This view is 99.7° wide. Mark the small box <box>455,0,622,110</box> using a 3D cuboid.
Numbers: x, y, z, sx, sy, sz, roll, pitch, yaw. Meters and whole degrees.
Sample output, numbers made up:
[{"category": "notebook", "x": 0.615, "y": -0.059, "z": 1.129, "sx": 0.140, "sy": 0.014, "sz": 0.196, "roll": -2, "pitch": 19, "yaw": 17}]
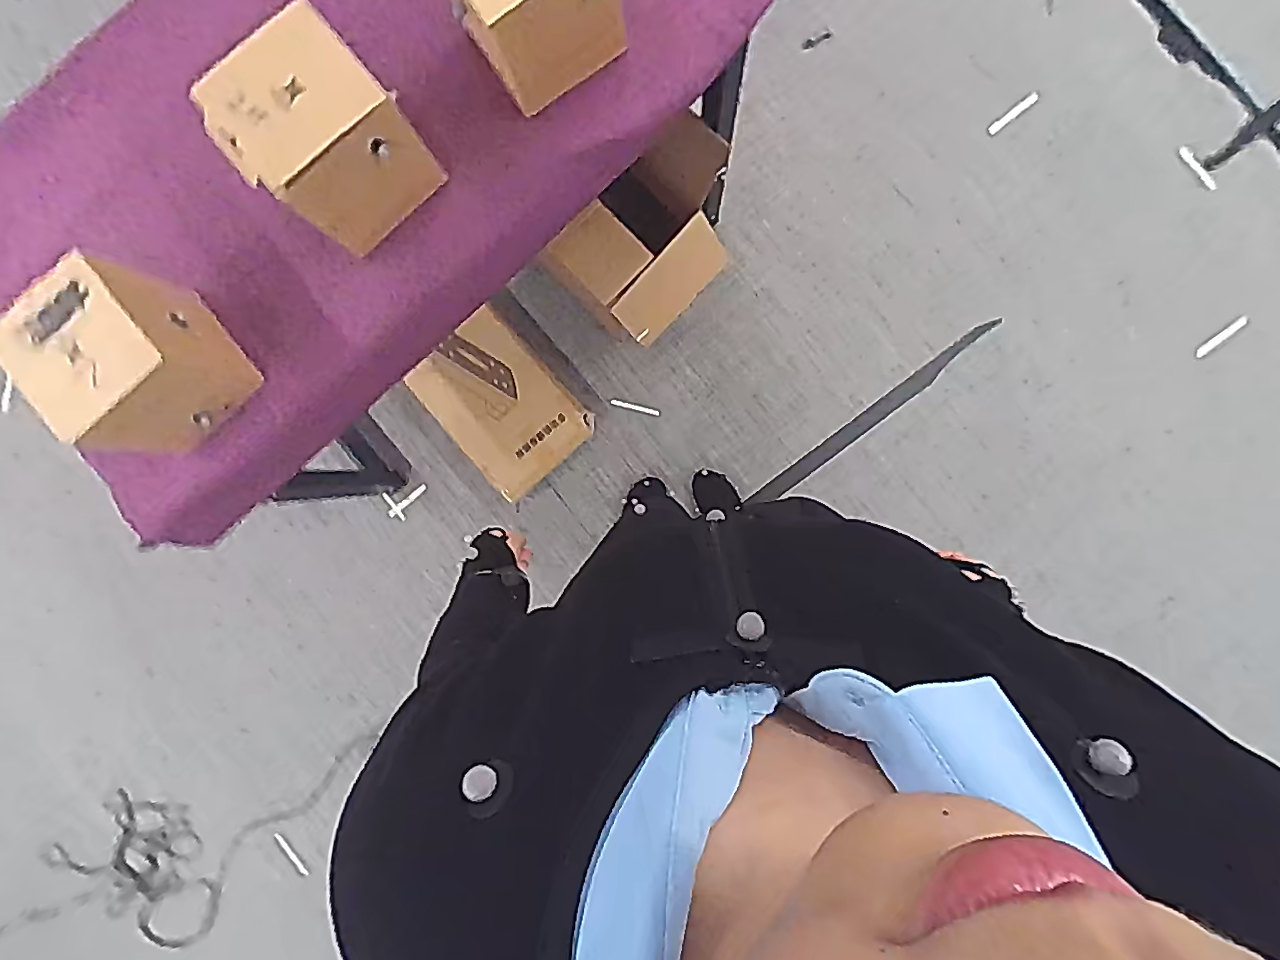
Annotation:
[{"category": "small box", "x": -0.139, "y": -0.627, "z": 0.684, "sx": 0.179, "sy": 0.176, "sz": 0.168, "roll": -34, "pitch": 89, "yaw": 3}]

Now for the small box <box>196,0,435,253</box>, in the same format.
[{"category": "small box", "x": -0.395, "y": -0.438, "z": 0.700, "sx": 0.179, "sy": 0.176, "sz": 0.168, "roll": -41, "pitch": 86, "yaw": 3}]
